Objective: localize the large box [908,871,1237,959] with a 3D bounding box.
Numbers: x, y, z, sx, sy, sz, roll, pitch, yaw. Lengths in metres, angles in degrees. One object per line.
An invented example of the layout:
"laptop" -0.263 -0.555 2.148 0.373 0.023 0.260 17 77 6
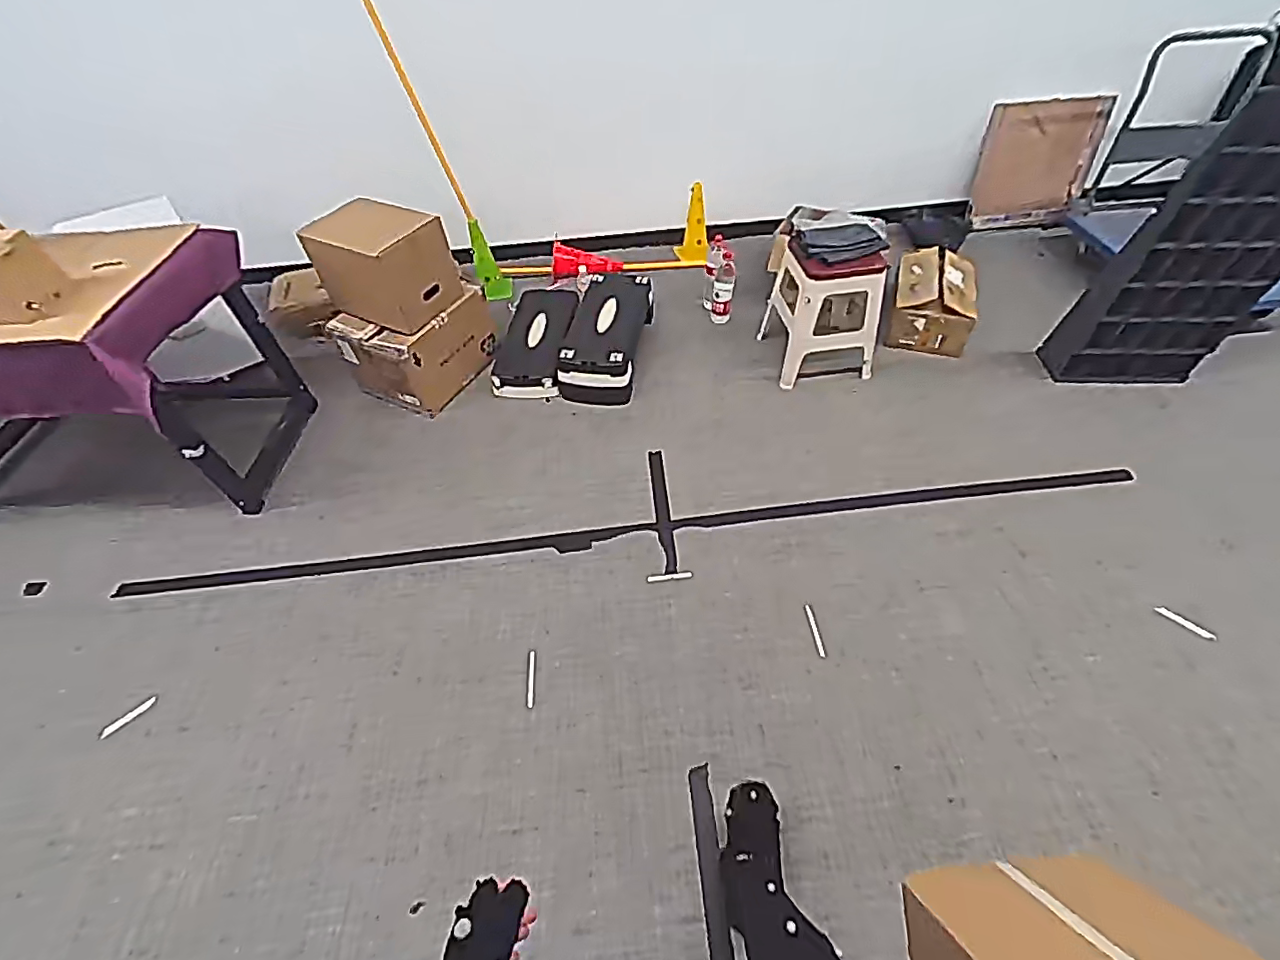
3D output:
"large box" 0.561 0.716 0.592 0.320 0.408 0.320 -2 82 -4
